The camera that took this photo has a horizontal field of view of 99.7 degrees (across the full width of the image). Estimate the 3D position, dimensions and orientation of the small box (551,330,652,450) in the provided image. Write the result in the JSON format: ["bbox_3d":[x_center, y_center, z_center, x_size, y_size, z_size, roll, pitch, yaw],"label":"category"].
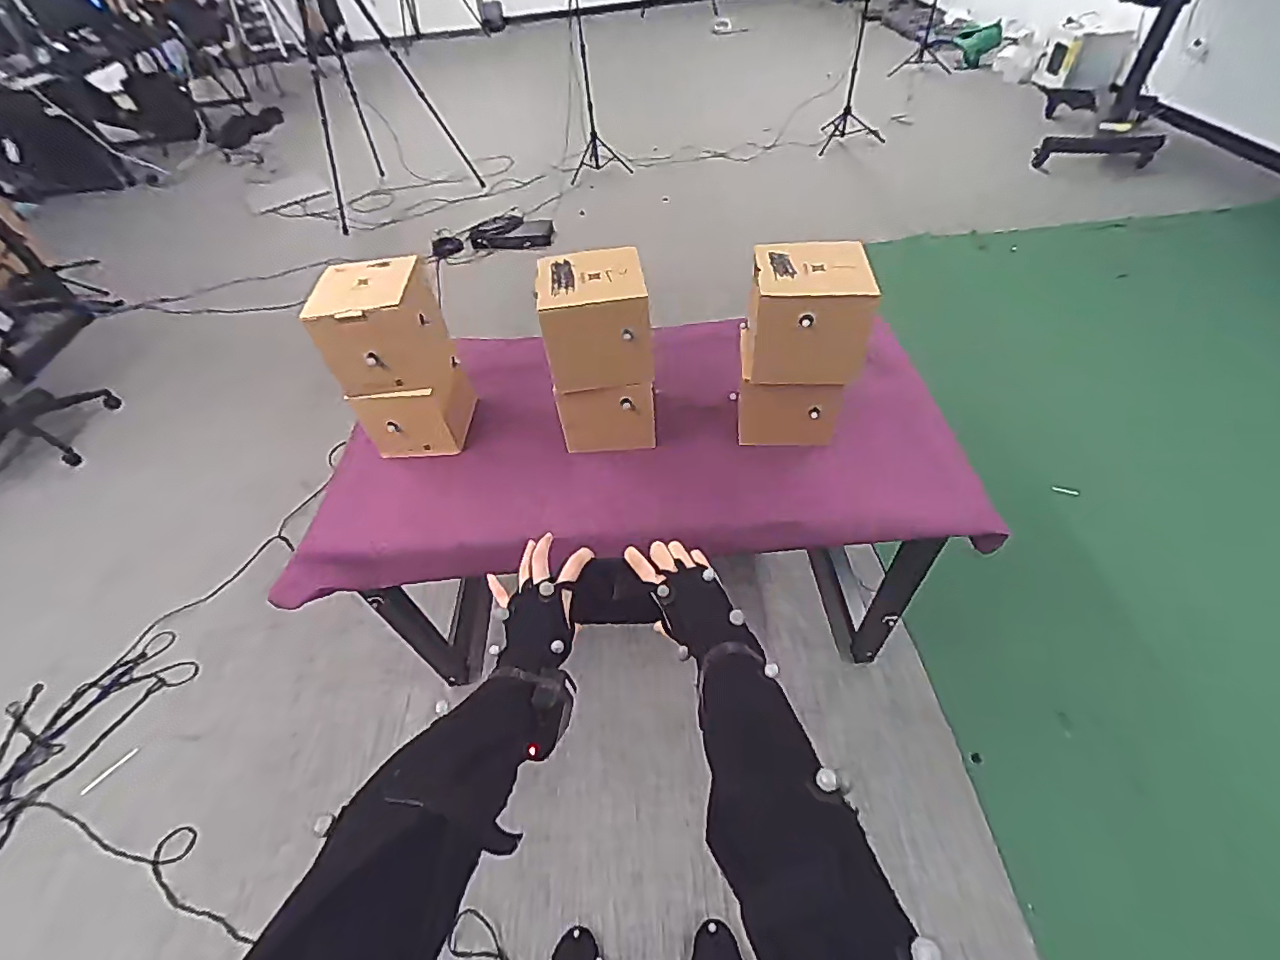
[{"bbox_3d":[-0.065,-0.175,1.066,0.179,0.176,0.168,-3,49,3],"label":"small box"}]

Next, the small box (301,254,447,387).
[{"bbox_3d":[-0.467,-0.282,0.983,0.168,0.176,0.179,-6,50,0],"label":"small box"}]

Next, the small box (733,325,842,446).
[{"bbox_3d":[0.274,-0.180,1.039,0.179,0.176,0.168,2,49,8],"label":"small box"}]

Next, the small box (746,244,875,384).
[{"bbox_3d":[0.270,-0.275,0.905,0.179,0.176,0.168,2,50,7],"label":"small box"}]

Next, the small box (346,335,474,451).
[{"bbox_3d":[-0.455,-0.170,1.103,0.168,0.176,0.179,-2,49,4],"label":"small box"}]
